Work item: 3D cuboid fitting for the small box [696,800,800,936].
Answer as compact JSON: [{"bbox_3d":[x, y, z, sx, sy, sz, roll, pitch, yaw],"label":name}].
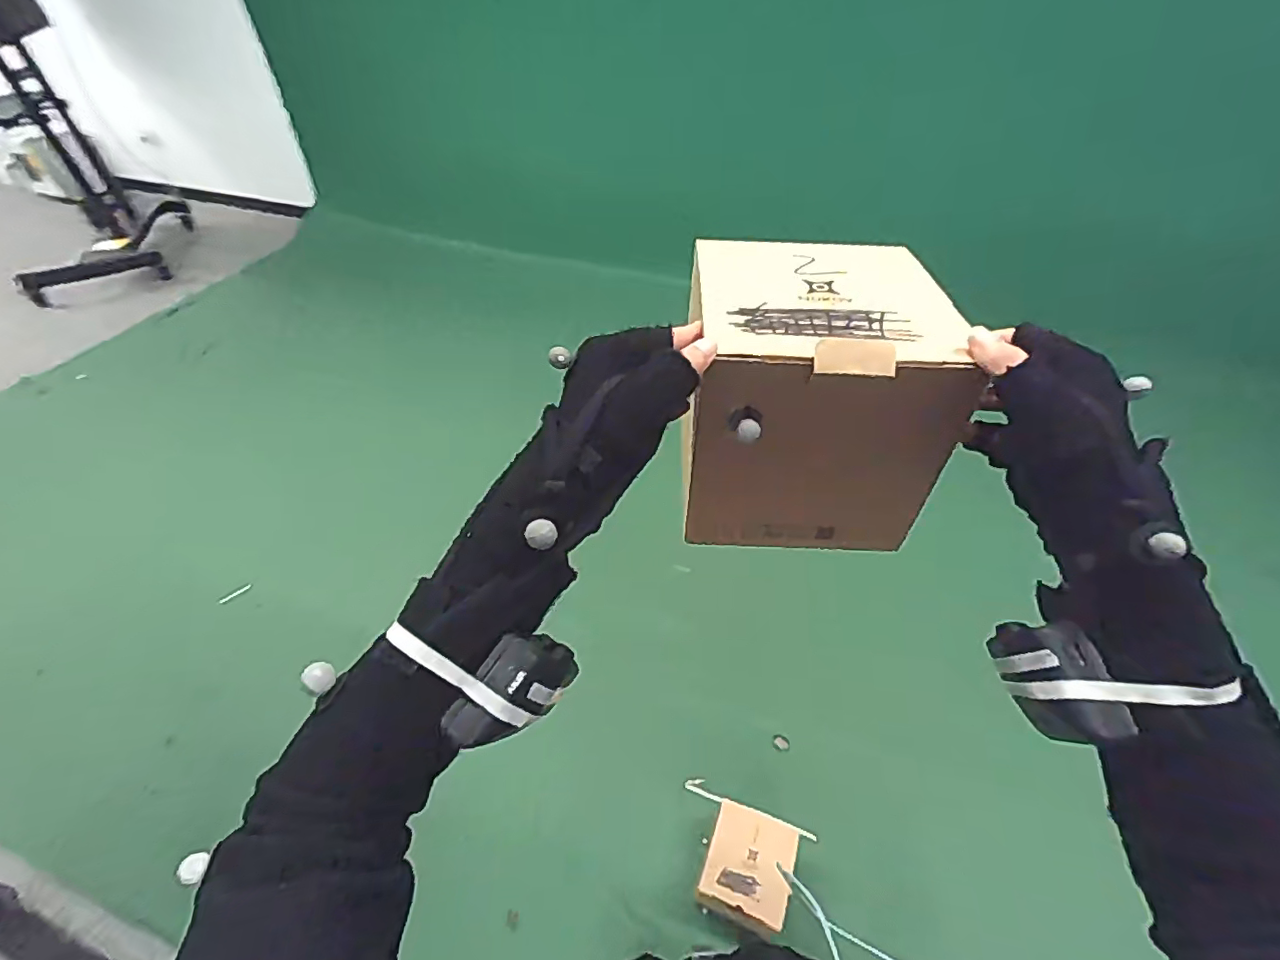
[{"bbox_3d":[0.222,0.819,1.138,0.168,0.176,0.179,18,48,15],"label":"small box"}]
